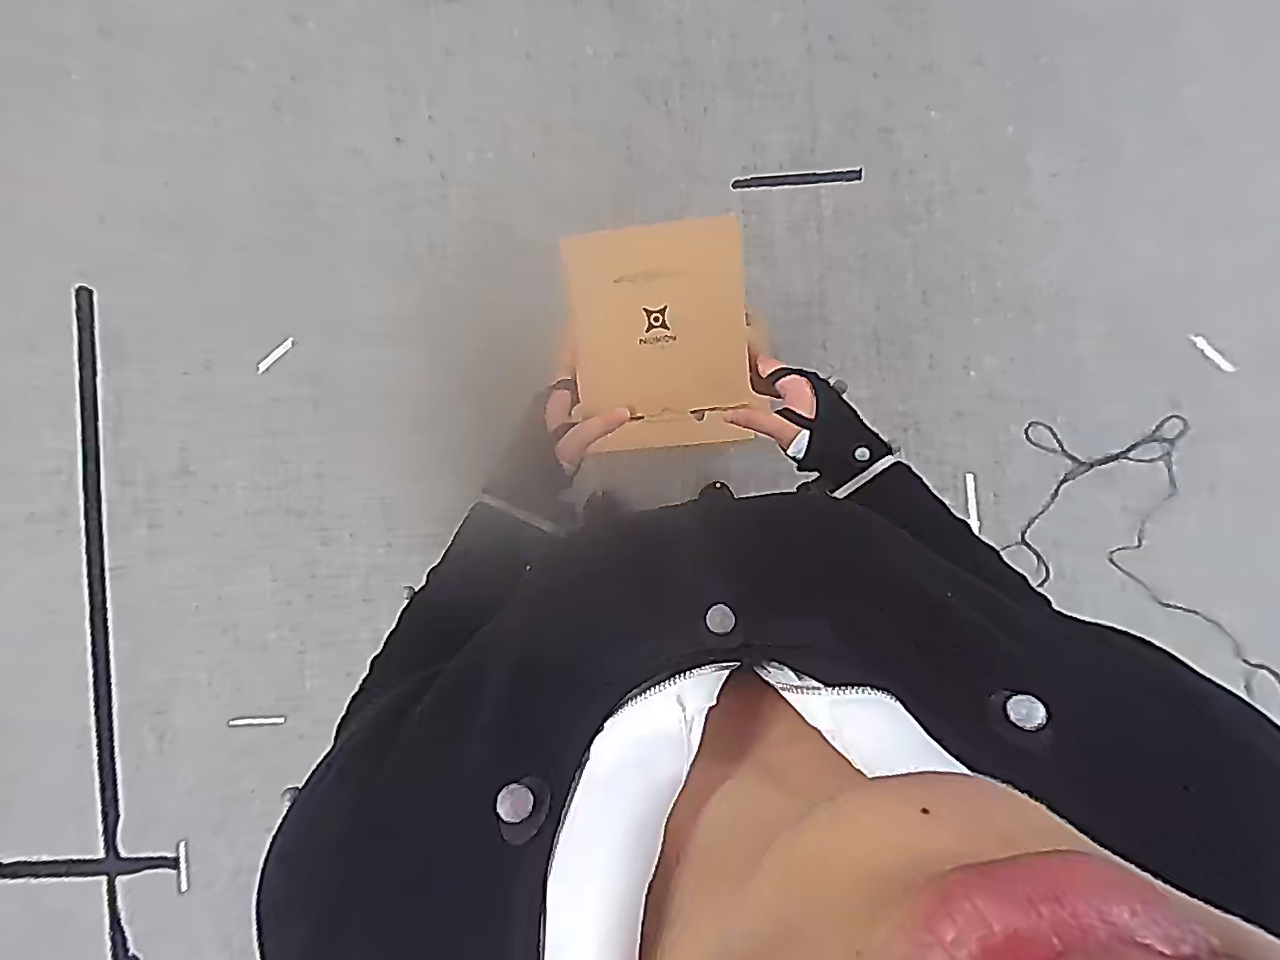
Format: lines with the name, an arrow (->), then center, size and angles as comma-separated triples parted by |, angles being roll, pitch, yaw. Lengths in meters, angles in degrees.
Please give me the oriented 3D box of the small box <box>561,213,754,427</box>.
small box -> 0.021, -0.160, 0.574 | 0.168, 0.176, 0.179 | -7, 102, 2
